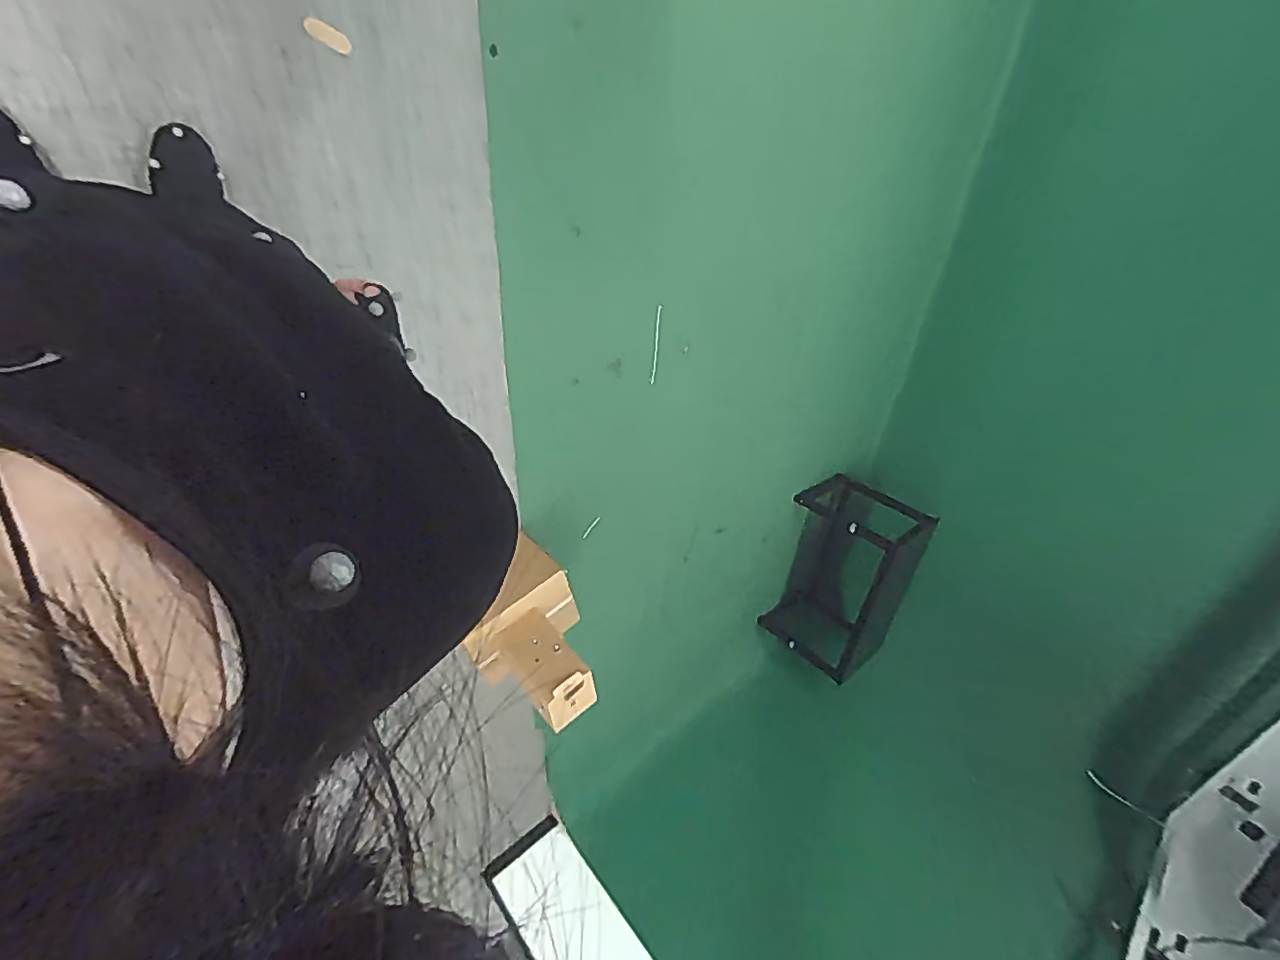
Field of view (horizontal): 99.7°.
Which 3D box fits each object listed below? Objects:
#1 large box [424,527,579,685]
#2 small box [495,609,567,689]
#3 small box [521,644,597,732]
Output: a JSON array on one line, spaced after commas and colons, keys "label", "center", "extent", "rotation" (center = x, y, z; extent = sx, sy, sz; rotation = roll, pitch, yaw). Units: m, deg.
[{"label": "large box", "center": [-0.500, 0.451, 1.988], "extent": [0.408, 0.320, 0.320], "rotation": [-35, 139, -26]}, {"label": "small box", "center": [-0.360, 0.573, 1.825], "extent": [0.179, 0.176, 0.168], "rotation": [-31, 134, -28]}, {"label": "small box", "center": [-0.260, 0.651, 1.722], "extent": [0.168, 0.176, 0.179], "rotation": [-30, 134, -29]}]
